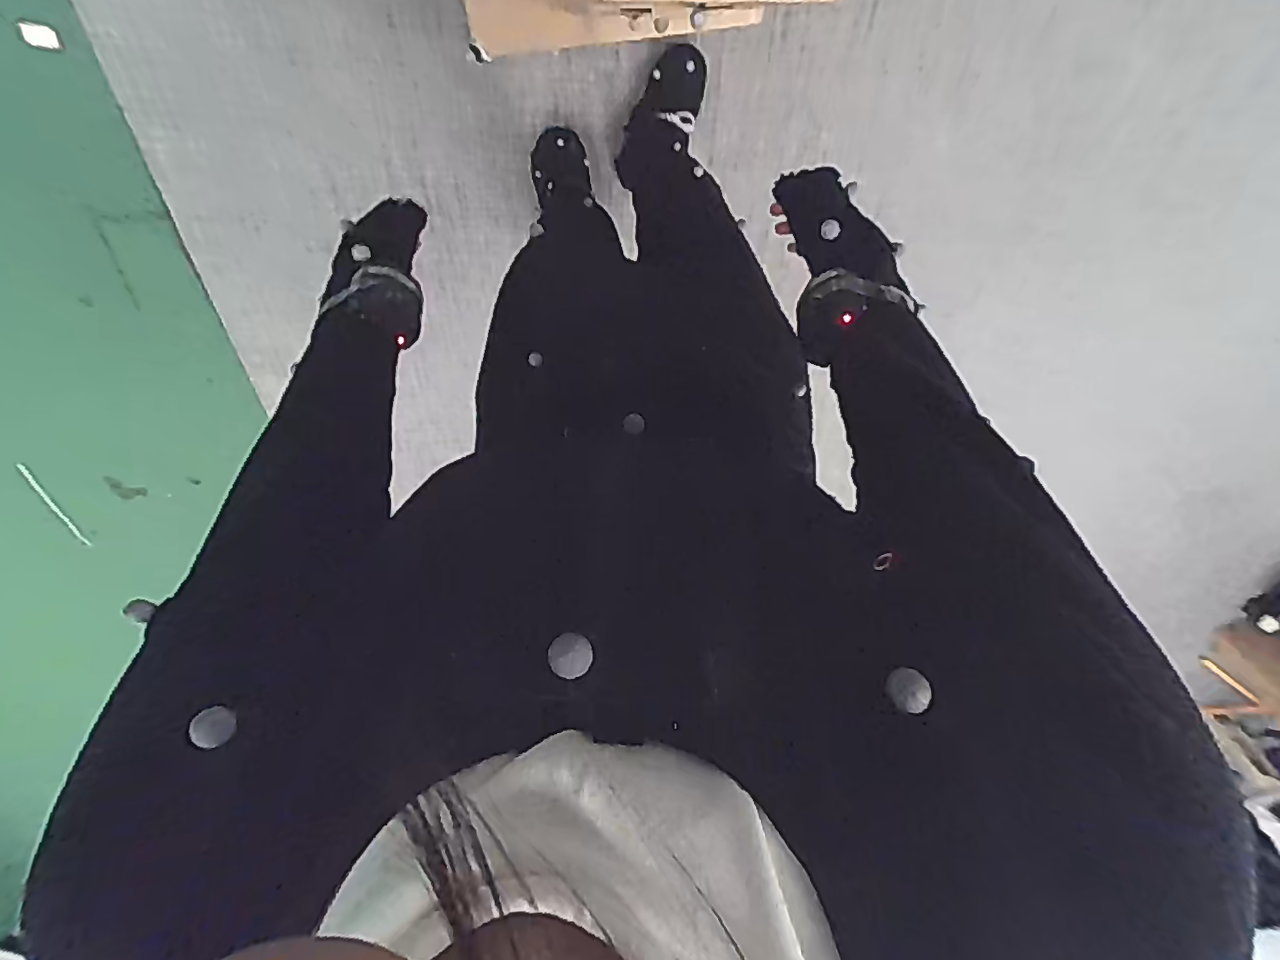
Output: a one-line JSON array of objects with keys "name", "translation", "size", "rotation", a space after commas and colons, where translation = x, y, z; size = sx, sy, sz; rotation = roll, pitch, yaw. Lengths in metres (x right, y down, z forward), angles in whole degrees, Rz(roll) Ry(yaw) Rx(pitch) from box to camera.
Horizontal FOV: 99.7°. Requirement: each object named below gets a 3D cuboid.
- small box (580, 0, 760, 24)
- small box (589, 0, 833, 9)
[{"name": "small box", "translation": [0.021, -0.537, 0.494], "size": [0.168, 0.176, 0.179], "rotation": [-5, 131, -4]}, {"name": "small box", "translation": [0.042, -0.433, 0.370], "size": [0.179, 0.176, 0.168], "rotation": [-5, 132, -5]}]
